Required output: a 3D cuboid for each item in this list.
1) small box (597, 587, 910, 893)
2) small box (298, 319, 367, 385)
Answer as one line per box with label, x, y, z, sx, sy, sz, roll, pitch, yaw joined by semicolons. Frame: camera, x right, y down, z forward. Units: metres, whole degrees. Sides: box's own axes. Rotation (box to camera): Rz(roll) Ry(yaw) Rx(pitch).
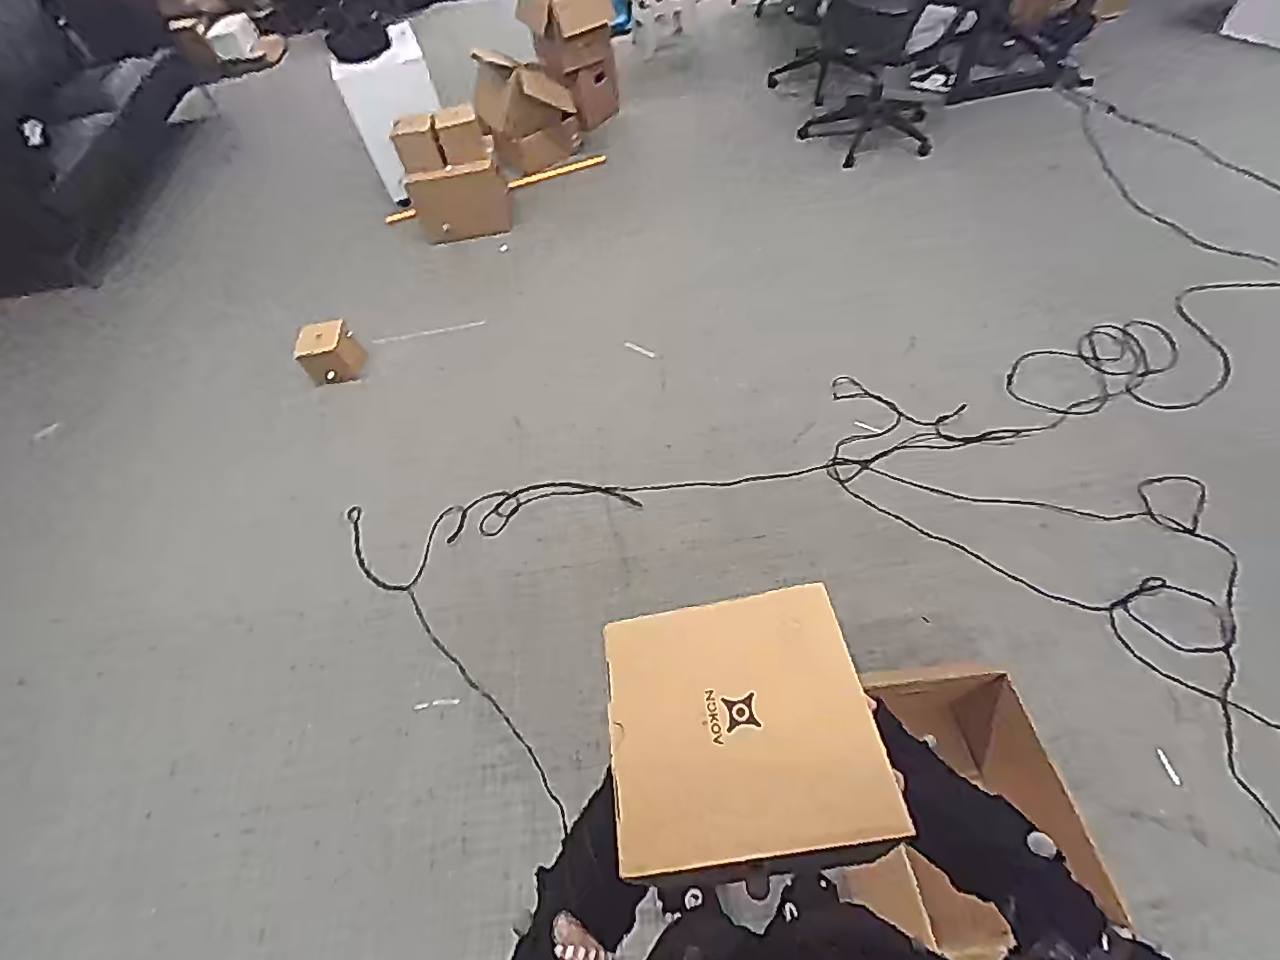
small box;0.076;0.207;0.420;0.179;0.176;0.168;-13;50;6
small box;-1.213;-0.507;2.148;0.168;0.176;0.179;-10;56;0
